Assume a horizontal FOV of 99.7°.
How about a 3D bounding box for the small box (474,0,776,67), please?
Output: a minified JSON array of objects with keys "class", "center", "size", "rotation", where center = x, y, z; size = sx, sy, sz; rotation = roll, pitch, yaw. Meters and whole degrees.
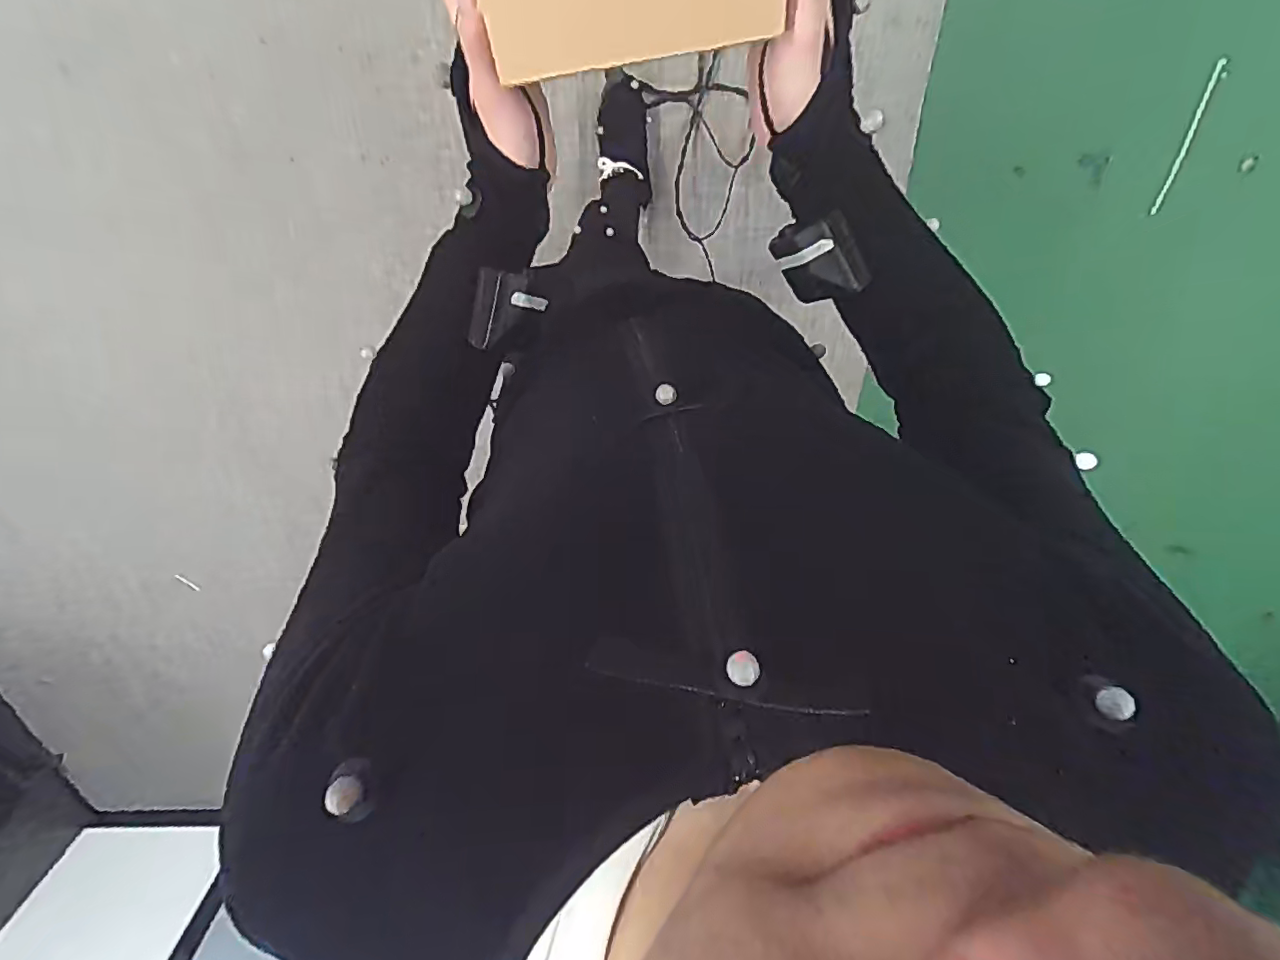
[{"class":"small box","center":[-0.017,-0.361,0.308],"size":[0.168,0.176,0.179],"rotation":[-6,132,5]}]
